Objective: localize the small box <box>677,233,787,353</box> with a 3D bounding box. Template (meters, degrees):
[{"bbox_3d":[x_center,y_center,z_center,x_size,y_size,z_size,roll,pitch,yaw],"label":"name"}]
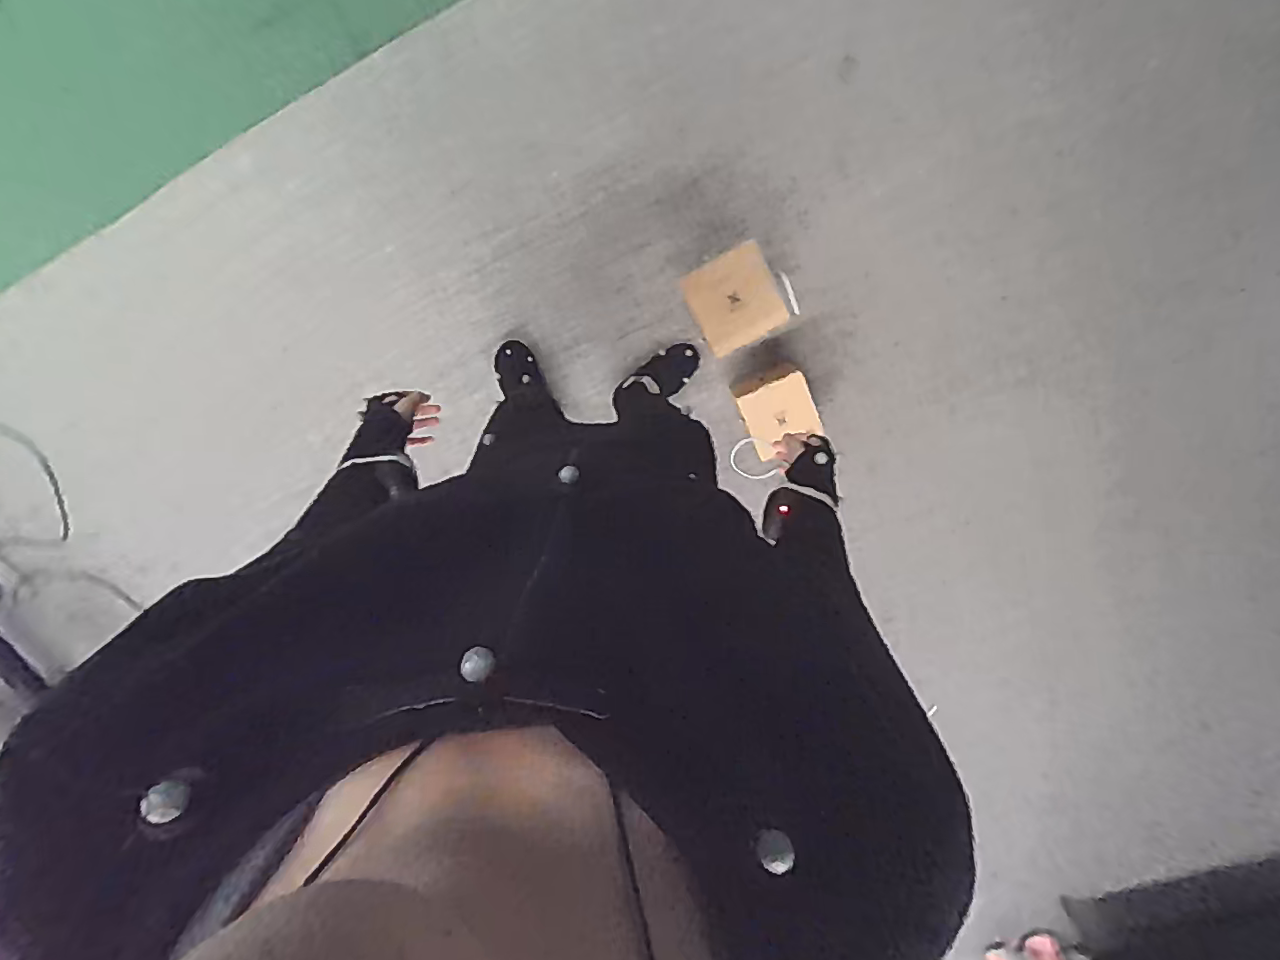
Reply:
[{"bbox_3d":[0.187,-0.389,1.136,0.168,0.176,0.179,-26,105,10],"label":"small box"}]
